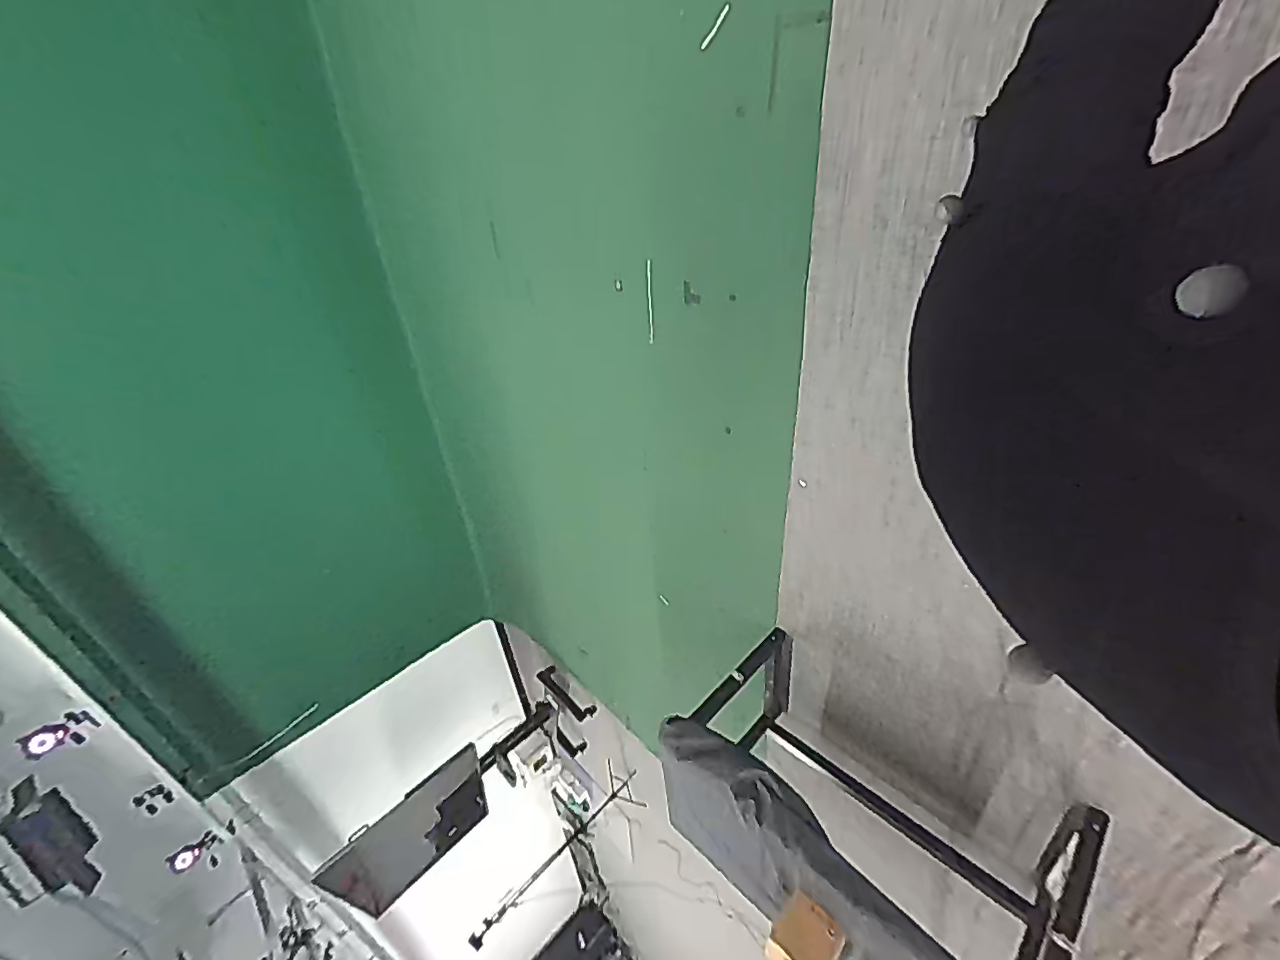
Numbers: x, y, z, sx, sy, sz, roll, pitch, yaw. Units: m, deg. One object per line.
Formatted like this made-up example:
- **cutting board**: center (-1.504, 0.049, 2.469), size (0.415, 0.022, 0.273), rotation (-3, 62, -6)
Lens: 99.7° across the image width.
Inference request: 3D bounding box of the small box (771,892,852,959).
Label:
- **small box**: center (0.514, 1.394, 1.621), size (0.168, 0.176, 0.179), rotation (27, 136, 39)
